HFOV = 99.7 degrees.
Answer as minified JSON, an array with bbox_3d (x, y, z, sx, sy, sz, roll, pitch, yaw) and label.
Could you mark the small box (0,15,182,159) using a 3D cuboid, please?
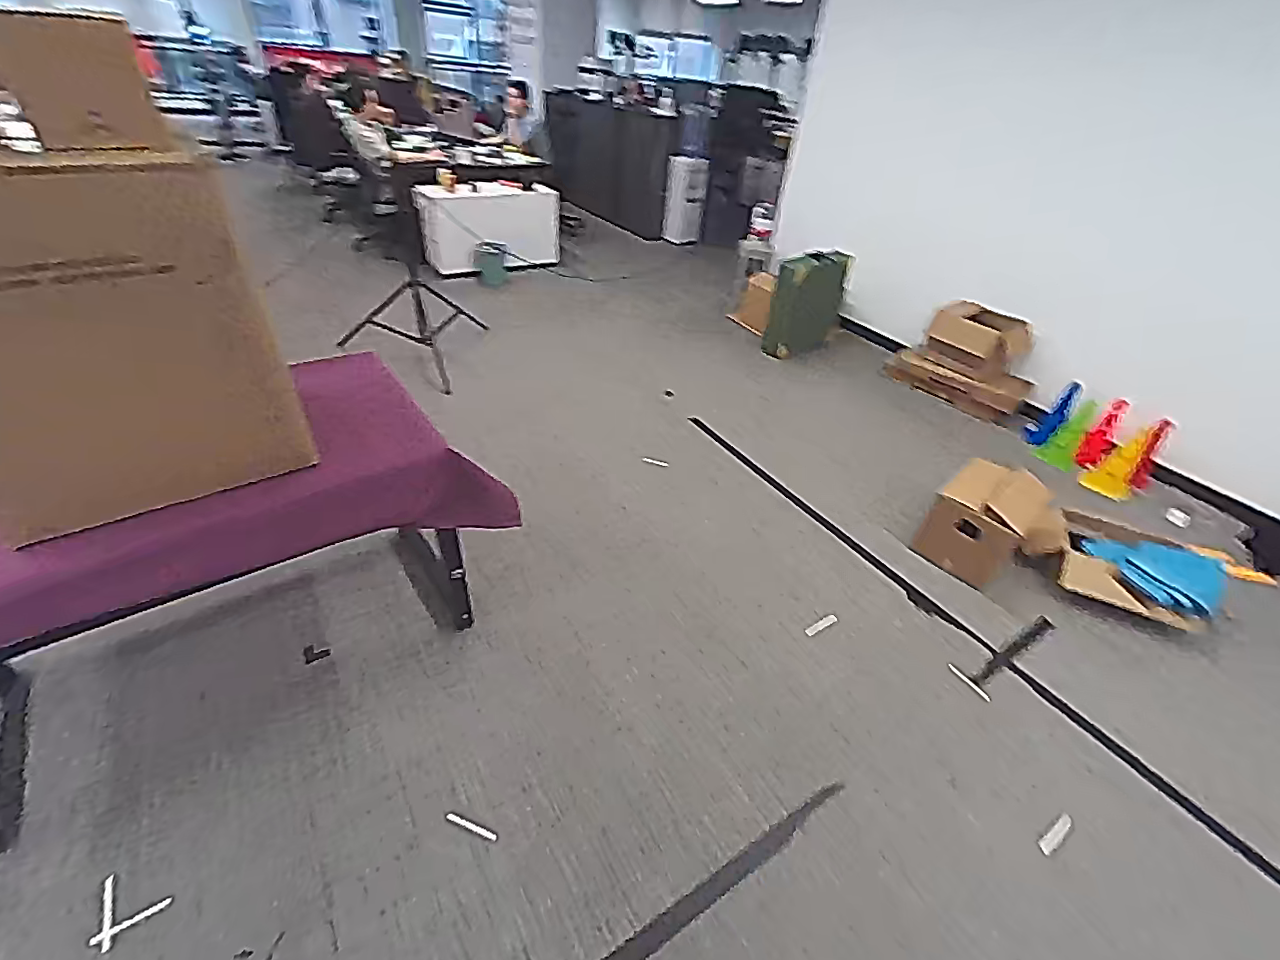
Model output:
[{"bbox_3d":[-0.883,-0.634,0.881,0.179,0.176,0.168,-21,45,-30],"label":"small box"}]
